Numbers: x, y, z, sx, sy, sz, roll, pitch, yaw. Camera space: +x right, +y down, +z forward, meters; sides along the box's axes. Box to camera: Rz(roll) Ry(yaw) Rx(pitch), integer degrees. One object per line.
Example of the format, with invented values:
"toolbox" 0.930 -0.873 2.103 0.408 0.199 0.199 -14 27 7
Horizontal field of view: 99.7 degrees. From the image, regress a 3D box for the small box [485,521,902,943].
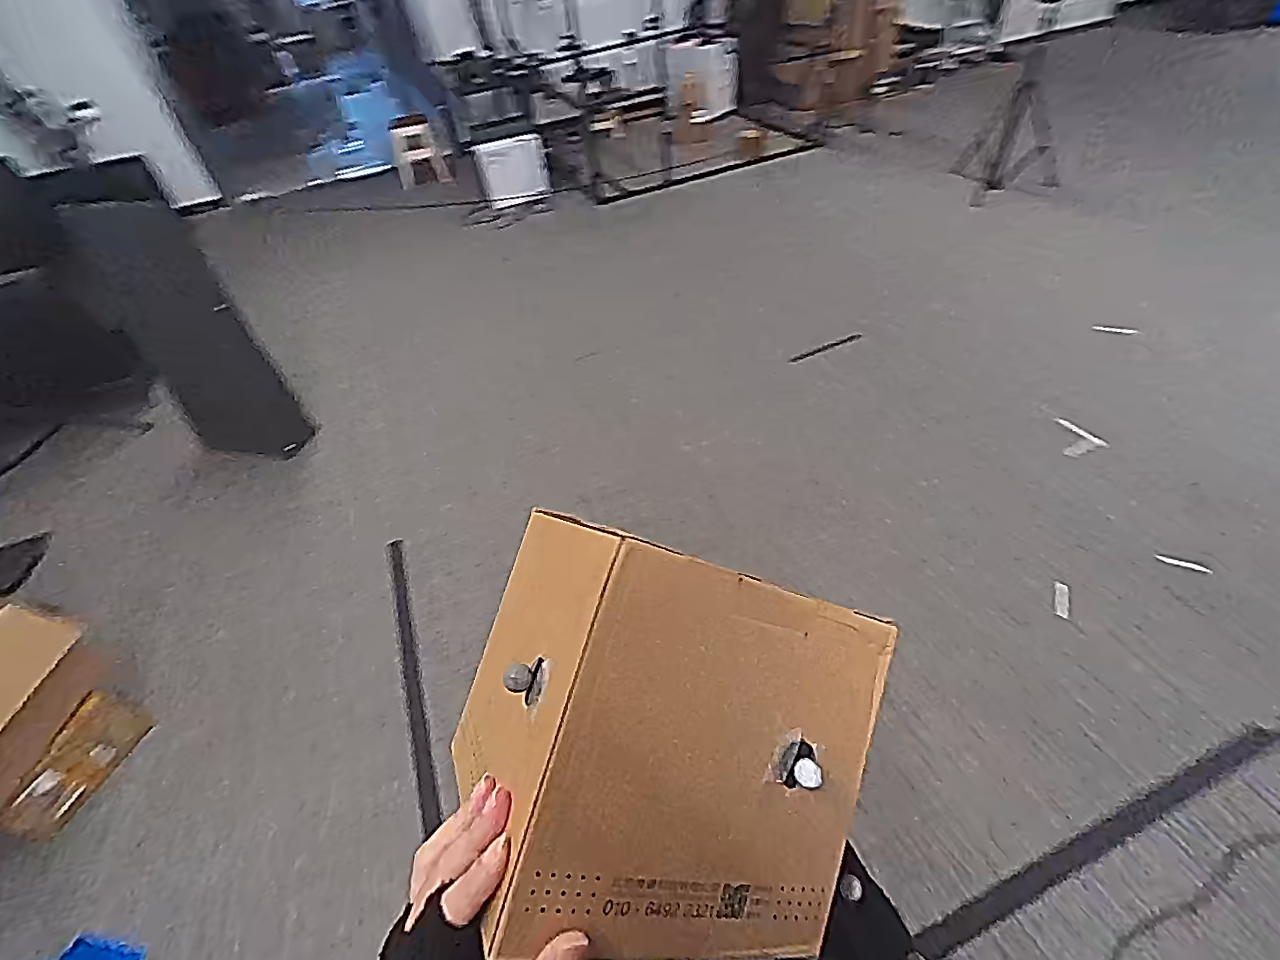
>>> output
"small box" 0.016 0.134 0.331 0.168 0.179 0.176 21 83 -20
